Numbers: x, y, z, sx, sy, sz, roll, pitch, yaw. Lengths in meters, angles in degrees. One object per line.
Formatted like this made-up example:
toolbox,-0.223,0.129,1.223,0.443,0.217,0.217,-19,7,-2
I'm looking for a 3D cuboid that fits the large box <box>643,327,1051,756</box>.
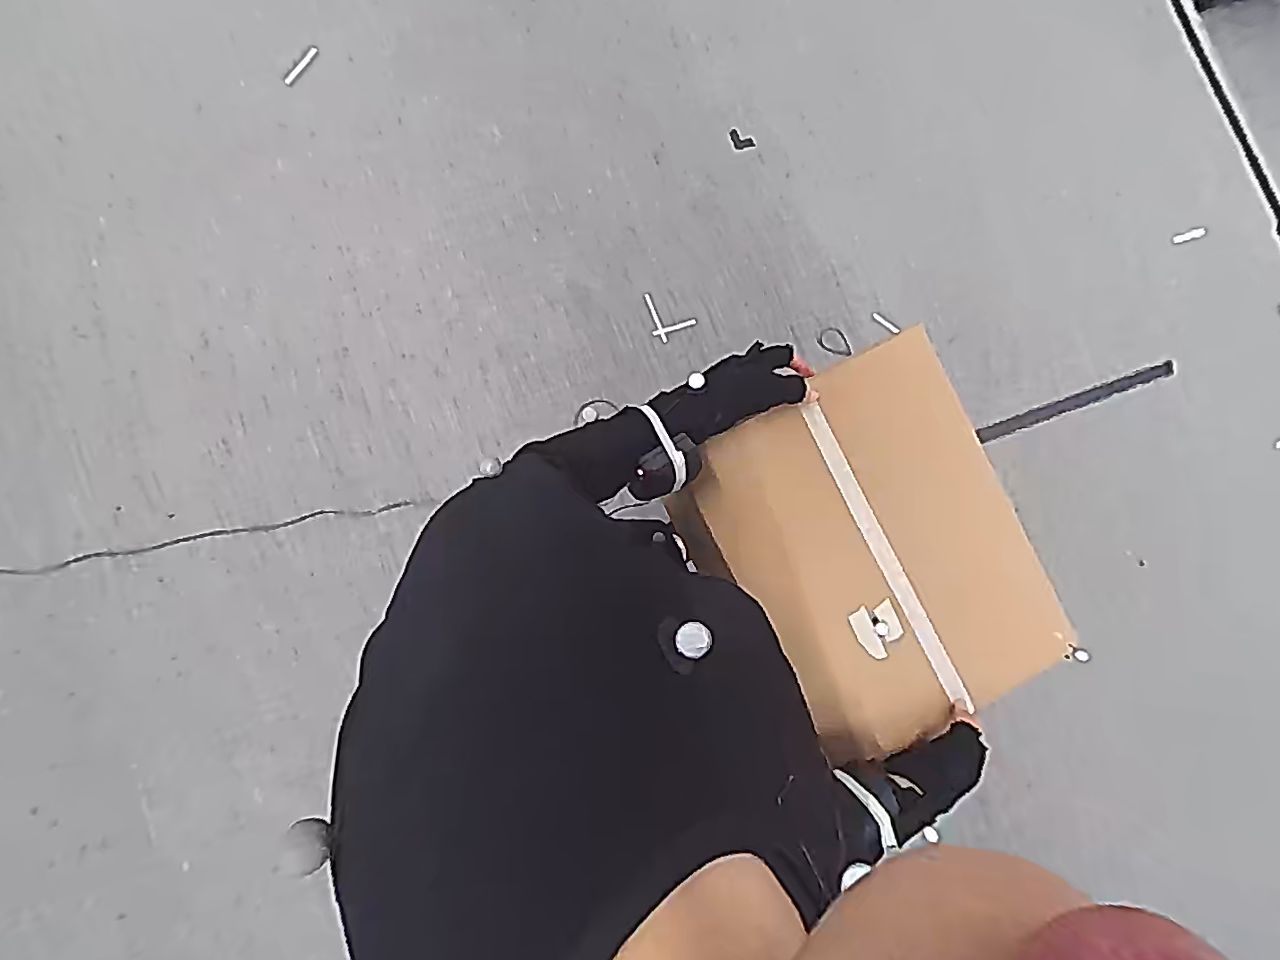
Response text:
large box,0.240,0.066,0.755,0.320,0.320,0.408,-28,93,-4
